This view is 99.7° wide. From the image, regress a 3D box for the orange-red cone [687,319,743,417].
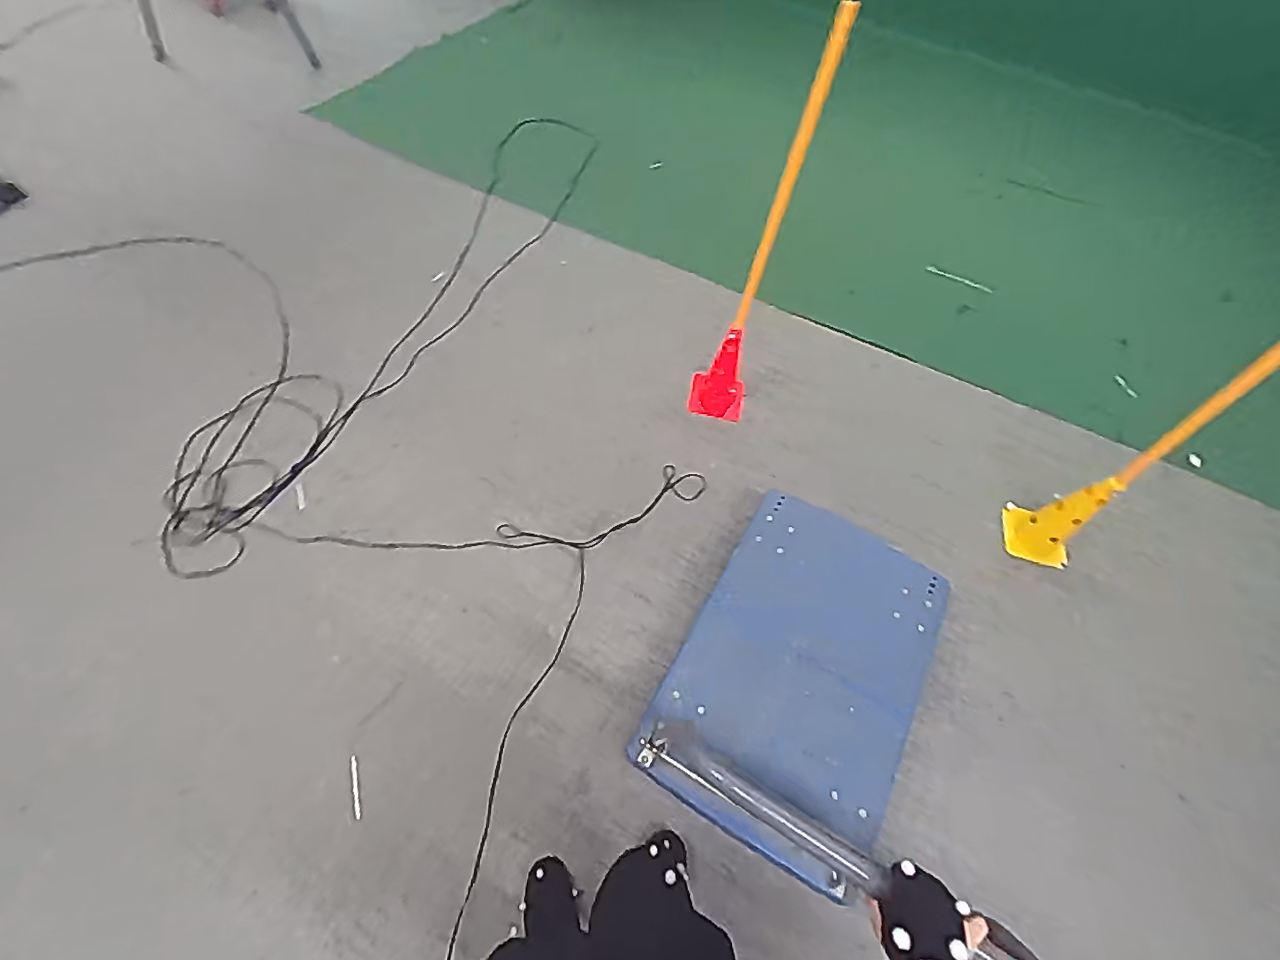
[{"bbox_3d":[0.295,-0.415,1.897,0.199,0.360,0.198,12,58,4],"label":"orange-red cone"}]
